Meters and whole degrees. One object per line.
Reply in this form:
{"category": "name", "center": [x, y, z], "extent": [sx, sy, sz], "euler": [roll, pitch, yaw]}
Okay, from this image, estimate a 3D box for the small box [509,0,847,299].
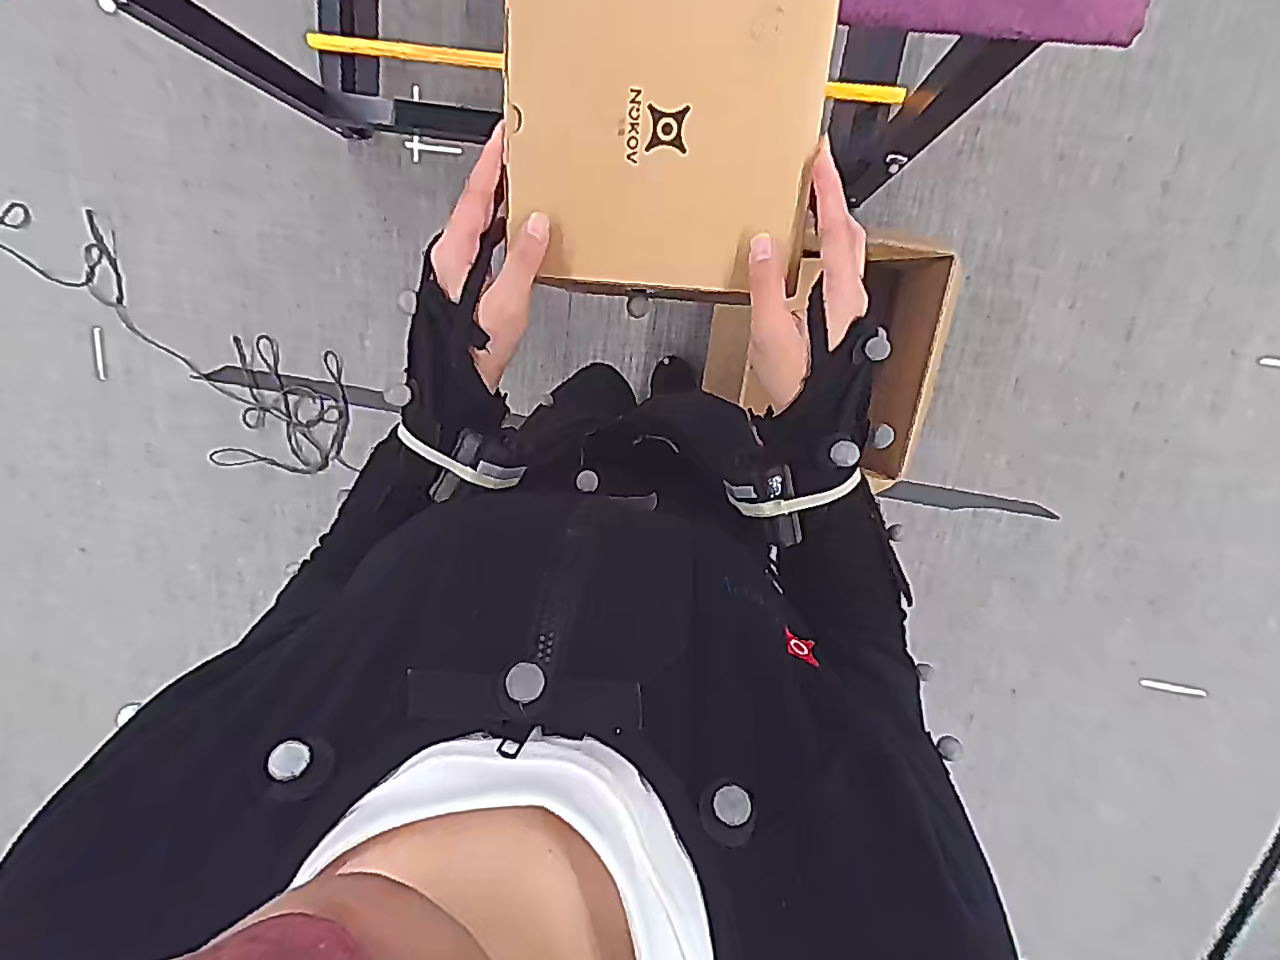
{"category": "small box", "center": [0.020, -0.218, 0.371], "extent": [0.179, 0.176, 0.168], "euler": [6, 107, 4]}
